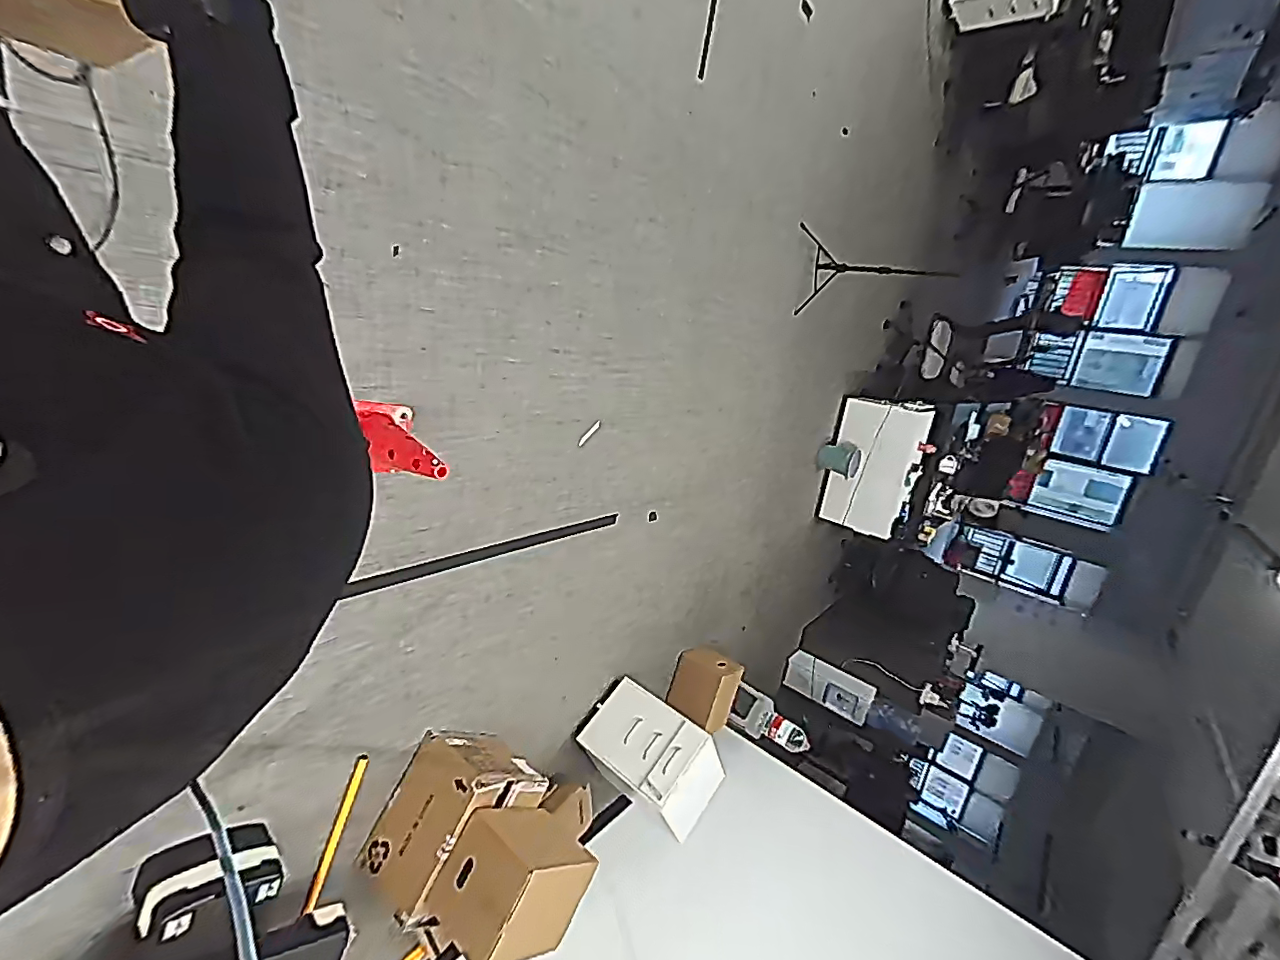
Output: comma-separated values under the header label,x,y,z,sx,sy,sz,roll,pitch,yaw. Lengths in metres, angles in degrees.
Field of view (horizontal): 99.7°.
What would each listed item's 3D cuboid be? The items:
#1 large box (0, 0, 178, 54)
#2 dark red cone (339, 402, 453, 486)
label,x,y,z,sx,sy,sz,roll,pitch,yaw
large box,-0.534,-0.491,0.265,0.408,0.320,0.320,-11,120,-50
dark red cone,-0.599,-0.063,1.392,0.201,0.394,0.202,-1,107,-51
